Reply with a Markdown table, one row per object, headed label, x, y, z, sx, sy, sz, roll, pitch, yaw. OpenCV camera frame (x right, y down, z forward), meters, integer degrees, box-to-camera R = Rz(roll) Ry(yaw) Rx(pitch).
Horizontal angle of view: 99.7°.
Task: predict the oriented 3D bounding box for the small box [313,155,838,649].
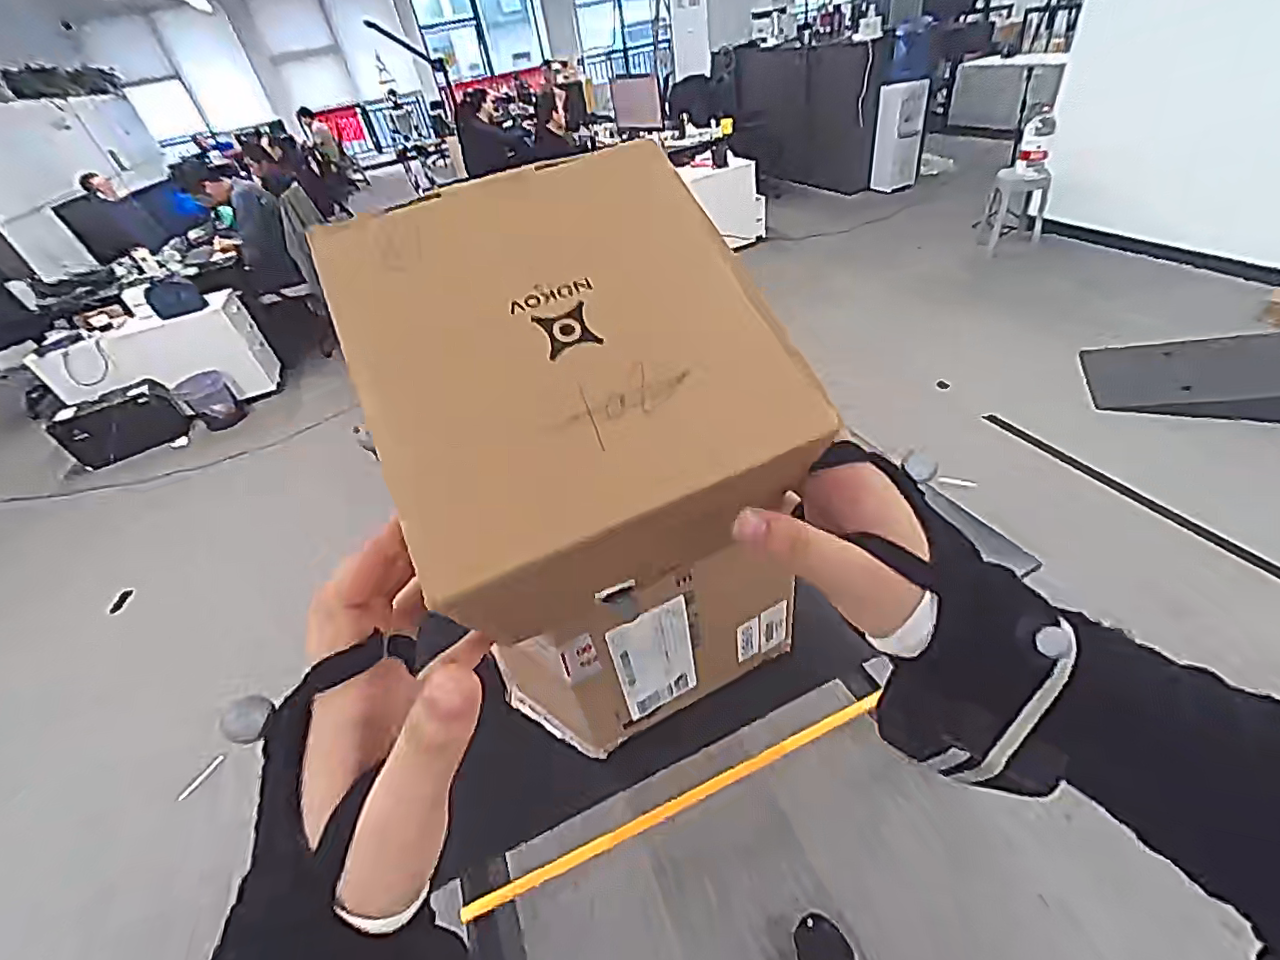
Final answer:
| label | x | y | z | sx | sy | sz | roll | pitch | yaw |
| --- | --- | --- | --- | --- | --- | --- | --- | --- | --- |
| small box | -0.035 | -0.026 | 0.294 | 0.168 | 0.176 | 0.179 | -23 | 72 | -11 |
